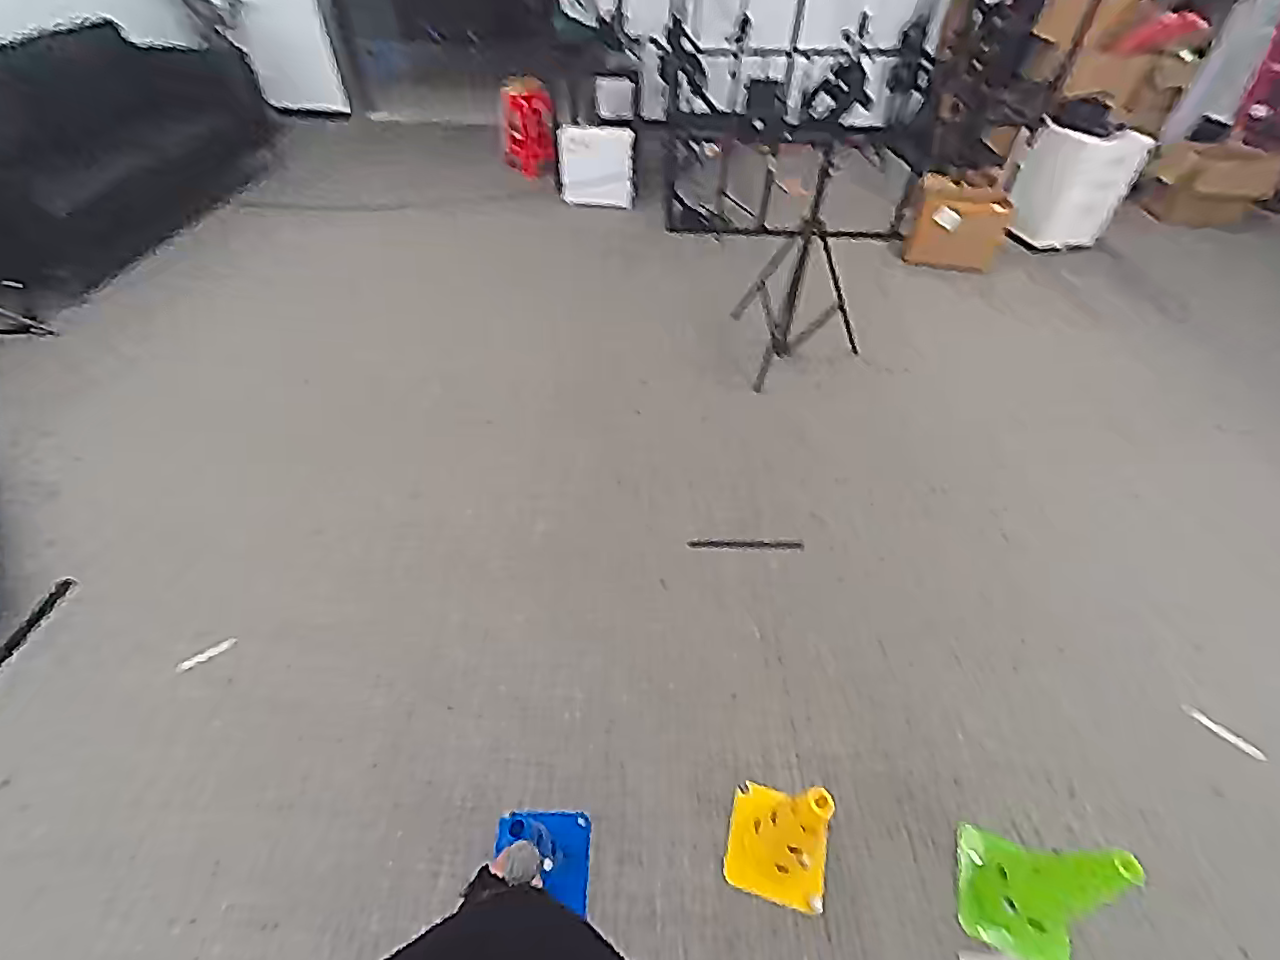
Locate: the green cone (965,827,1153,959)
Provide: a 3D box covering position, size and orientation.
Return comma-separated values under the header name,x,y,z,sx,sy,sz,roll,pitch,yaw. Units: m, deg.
name,x,y,z,sx,sy,sz,roll,pitch,yaw
green cone,0.768,0.728,0.970,0.200,0.368,0.202,17,49,15
